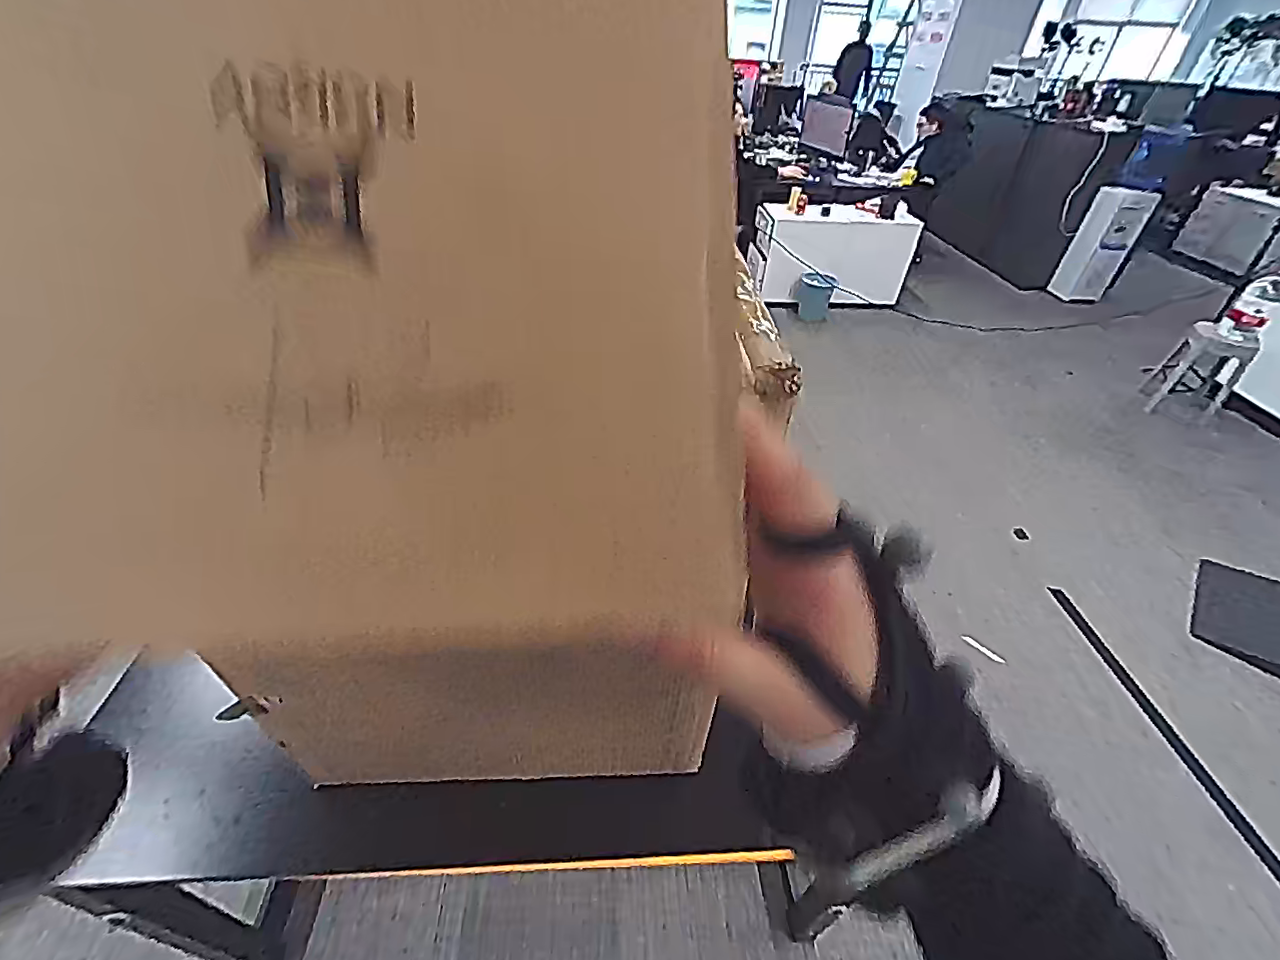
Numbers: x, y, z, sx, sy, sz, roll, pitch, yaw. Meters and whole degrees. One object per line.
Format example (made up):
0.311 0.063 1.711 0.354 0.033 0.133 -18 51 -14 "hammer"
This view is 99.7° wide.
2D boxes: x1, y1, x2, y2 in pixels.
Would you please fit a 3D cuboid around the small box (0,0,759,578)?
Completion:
-0.067 -0.065 0.191 0.168 0.179 0.176 -2 -2 -7 "small box"
